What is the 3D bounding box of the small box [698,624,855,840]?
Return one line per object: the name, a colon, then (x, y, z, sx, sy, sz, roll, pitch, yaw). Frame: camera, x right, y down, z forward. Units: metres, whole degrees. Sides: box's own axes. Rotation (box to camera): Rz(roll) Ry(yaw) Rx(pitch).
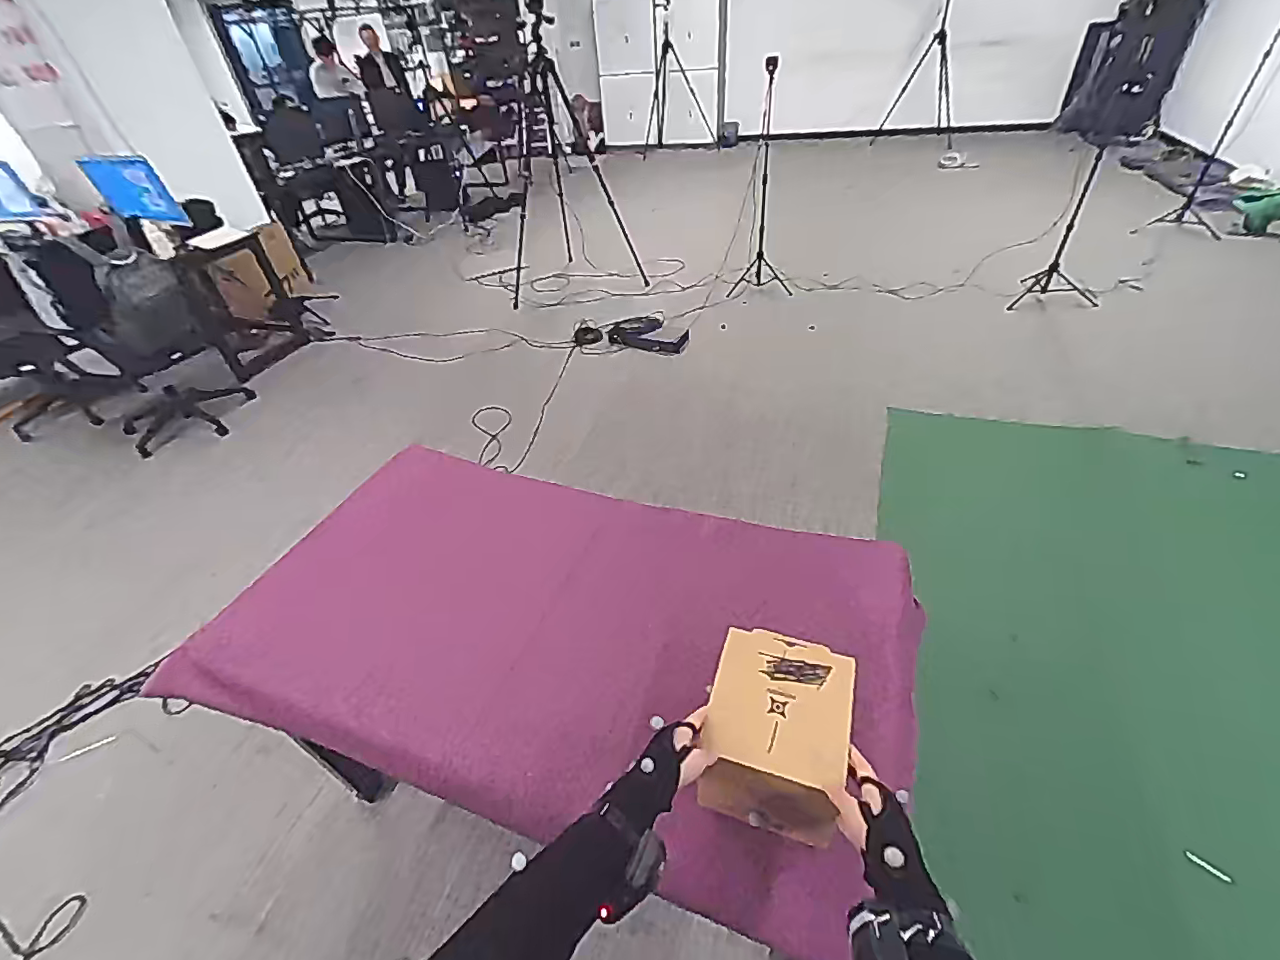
small box: (0.176, 0.324, 0.706, 0.168, 0.176, 0.179, 9, 41, 19)
